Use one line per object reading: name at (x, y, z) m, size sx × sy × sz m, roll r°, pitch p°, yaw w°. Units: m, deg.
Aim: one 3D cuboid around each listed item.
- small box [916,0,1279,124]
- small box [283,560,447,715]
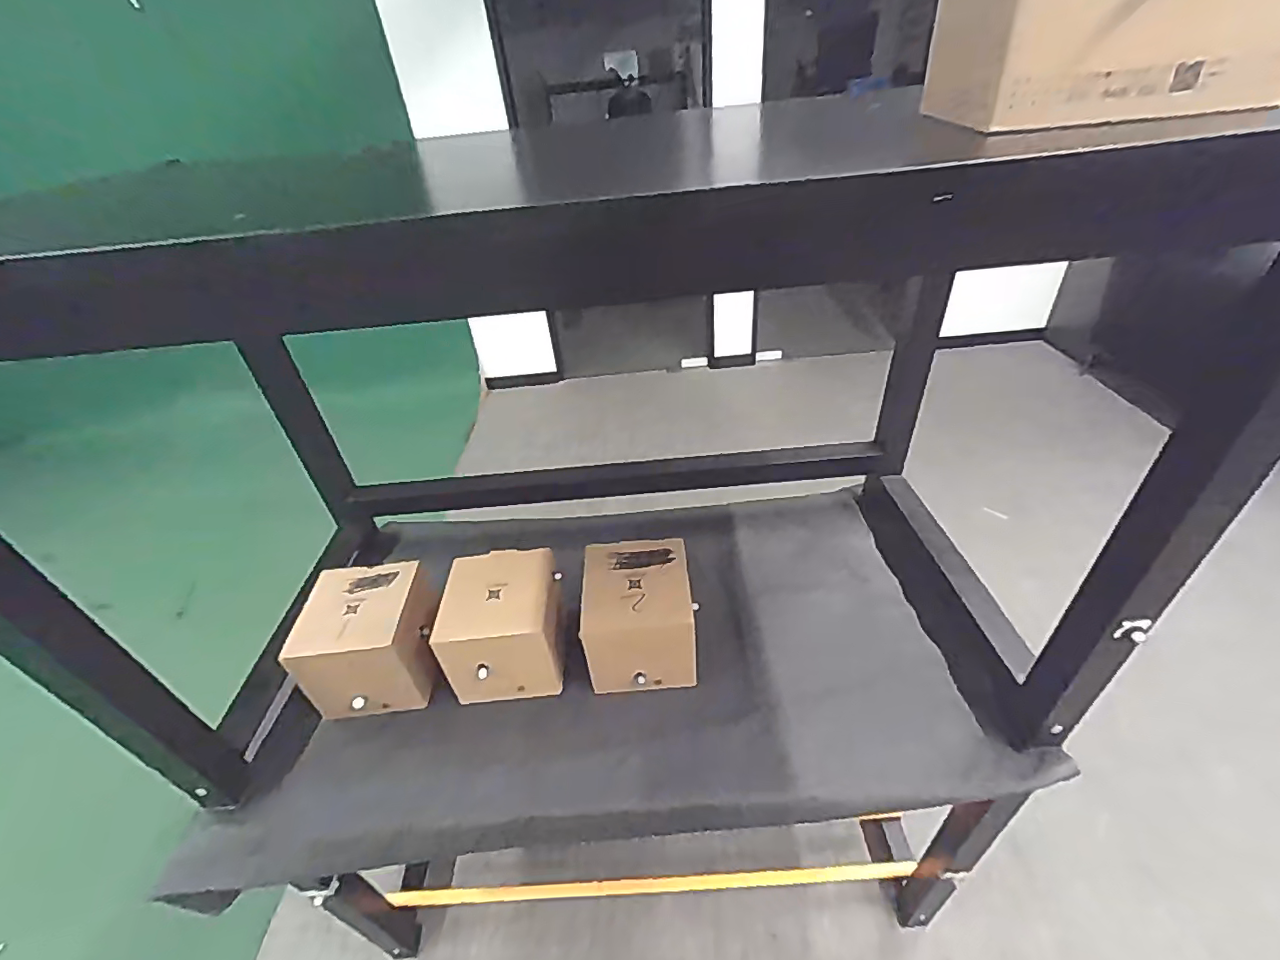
small box at (0.302, -0.343, 0.355) m, size 0.168 × 0.176 × 0.179 m, roll 1°, pitch 37°, yaw 10°
small box at (-0.435, 0.258, 0.892) m, size 0.168 × 0.176 × 0.179 m, roll -7°, pitch 37°, yaw 0°
